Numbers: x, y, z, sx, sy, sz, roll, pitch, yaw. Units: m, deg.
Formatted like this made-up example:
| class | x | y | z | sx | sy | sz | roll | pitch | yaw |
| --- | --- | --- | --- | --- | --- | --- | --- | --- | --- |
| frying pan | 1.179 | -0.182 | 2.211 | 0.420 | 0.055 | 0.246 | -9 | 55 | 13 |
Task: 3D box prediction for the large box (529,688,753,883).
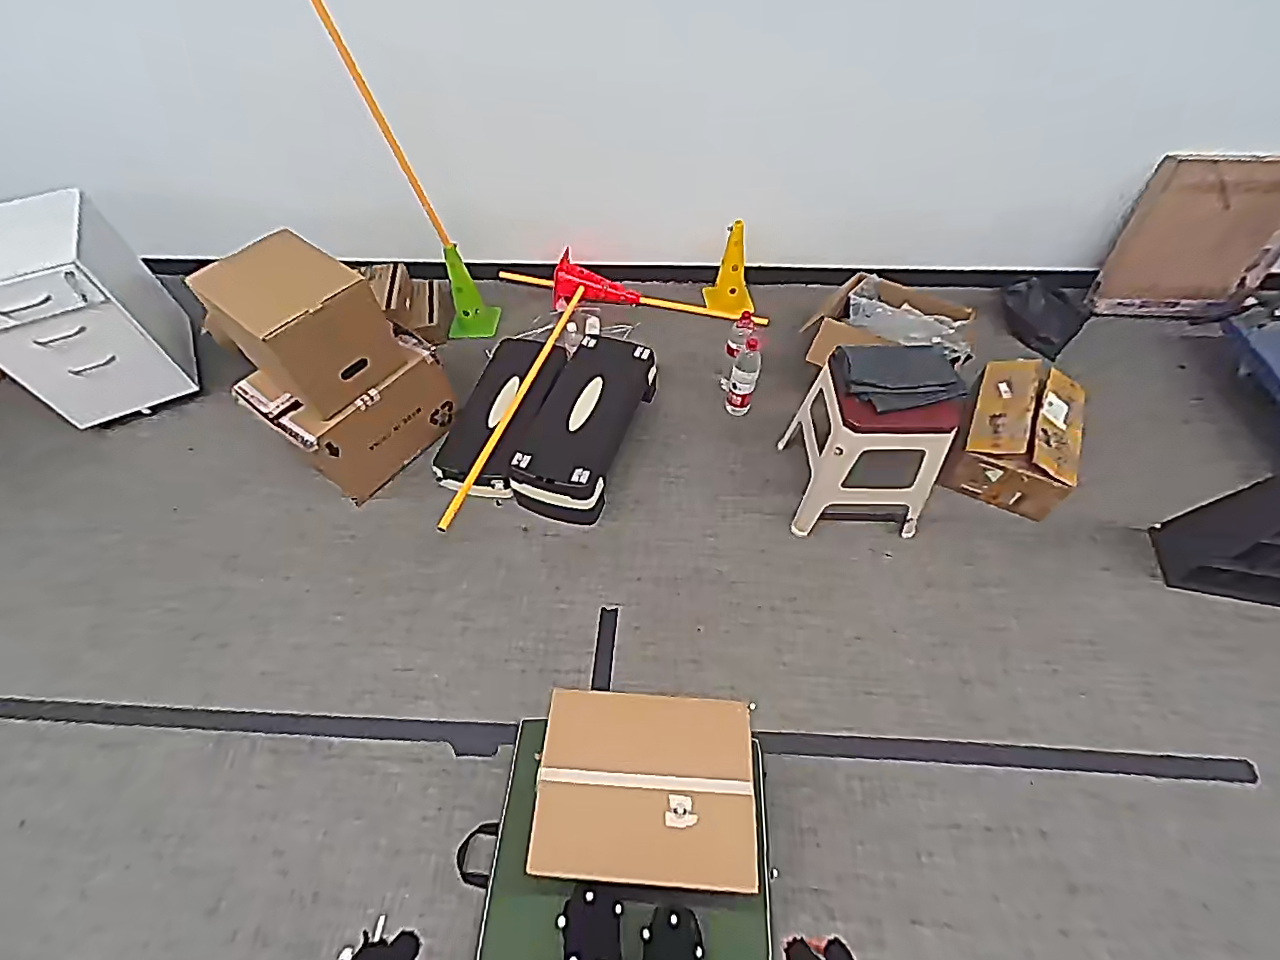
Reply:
| class | x | y | z | sx | sy | sz | roll | pitch | yaw |
| --- | --- | --- | --- | --- | --- | --- | --- | --- | --- |
| large box | 0.005 | 0.653 | 1.153 | 0.408 | 0.320 | 0.320 | 3 | 56 | 2 |
